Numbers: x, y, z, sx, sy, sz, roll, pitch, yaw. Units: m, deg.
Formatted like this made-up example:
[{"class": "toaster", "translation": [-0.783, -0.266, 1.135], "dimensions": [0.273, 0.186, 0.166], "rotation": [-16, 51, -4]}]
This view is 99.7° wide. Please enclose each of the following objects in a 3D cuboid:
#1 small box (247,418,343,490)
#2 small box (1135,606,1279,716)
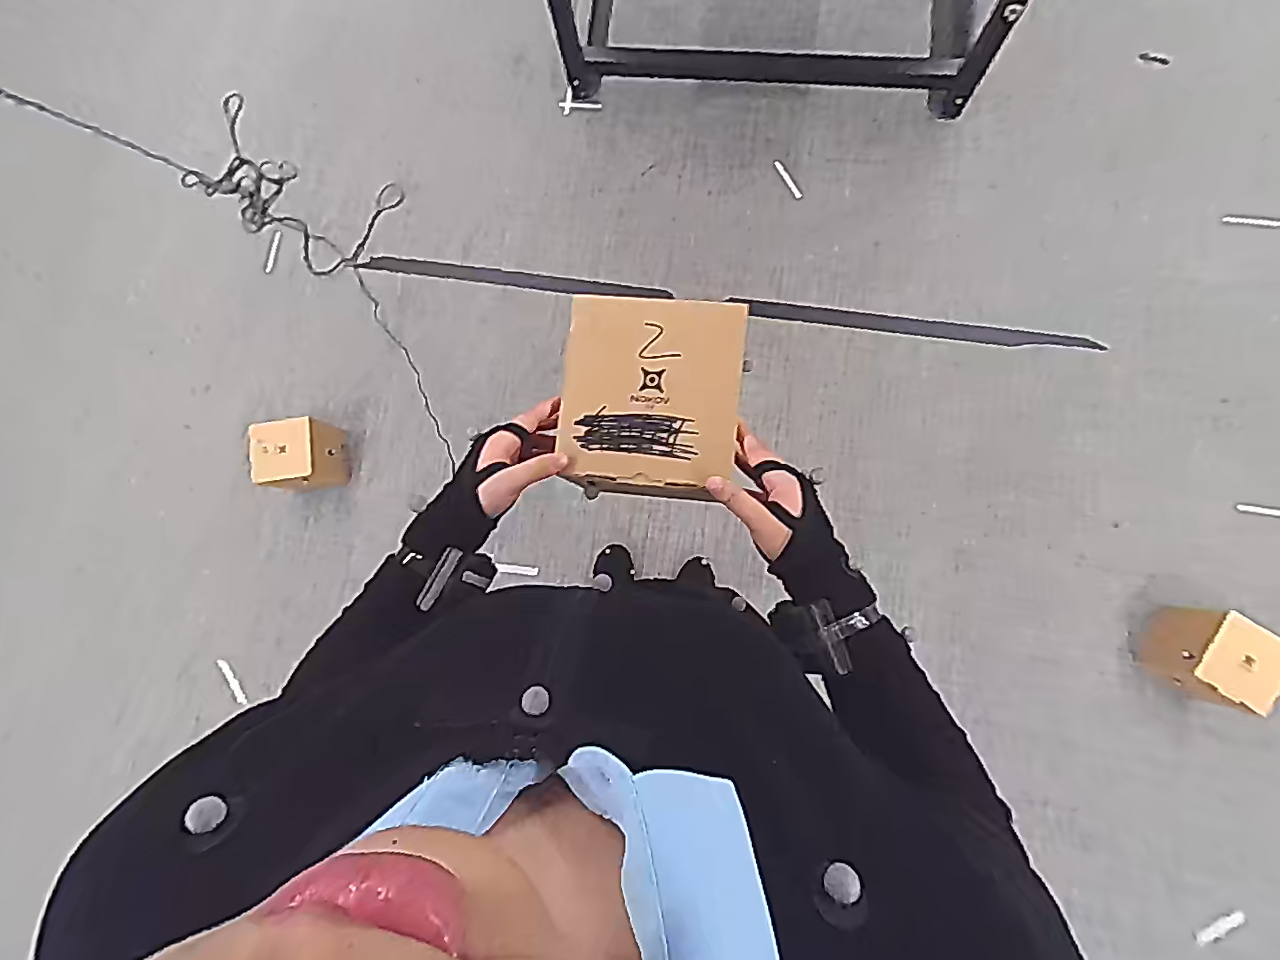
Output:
[{"class": "small box", "translation": [-0.970, -0.069, 1.536], "dimensions": [0.179, 0.176, 0.168], "rotation": [-8, 82, 4]}, {"class": "small box", "translation": [1.355, 0.418, 1.290], "dimensions": [0.168, 0.176, 0.179], "rotation": [33, 86, 8]}]
